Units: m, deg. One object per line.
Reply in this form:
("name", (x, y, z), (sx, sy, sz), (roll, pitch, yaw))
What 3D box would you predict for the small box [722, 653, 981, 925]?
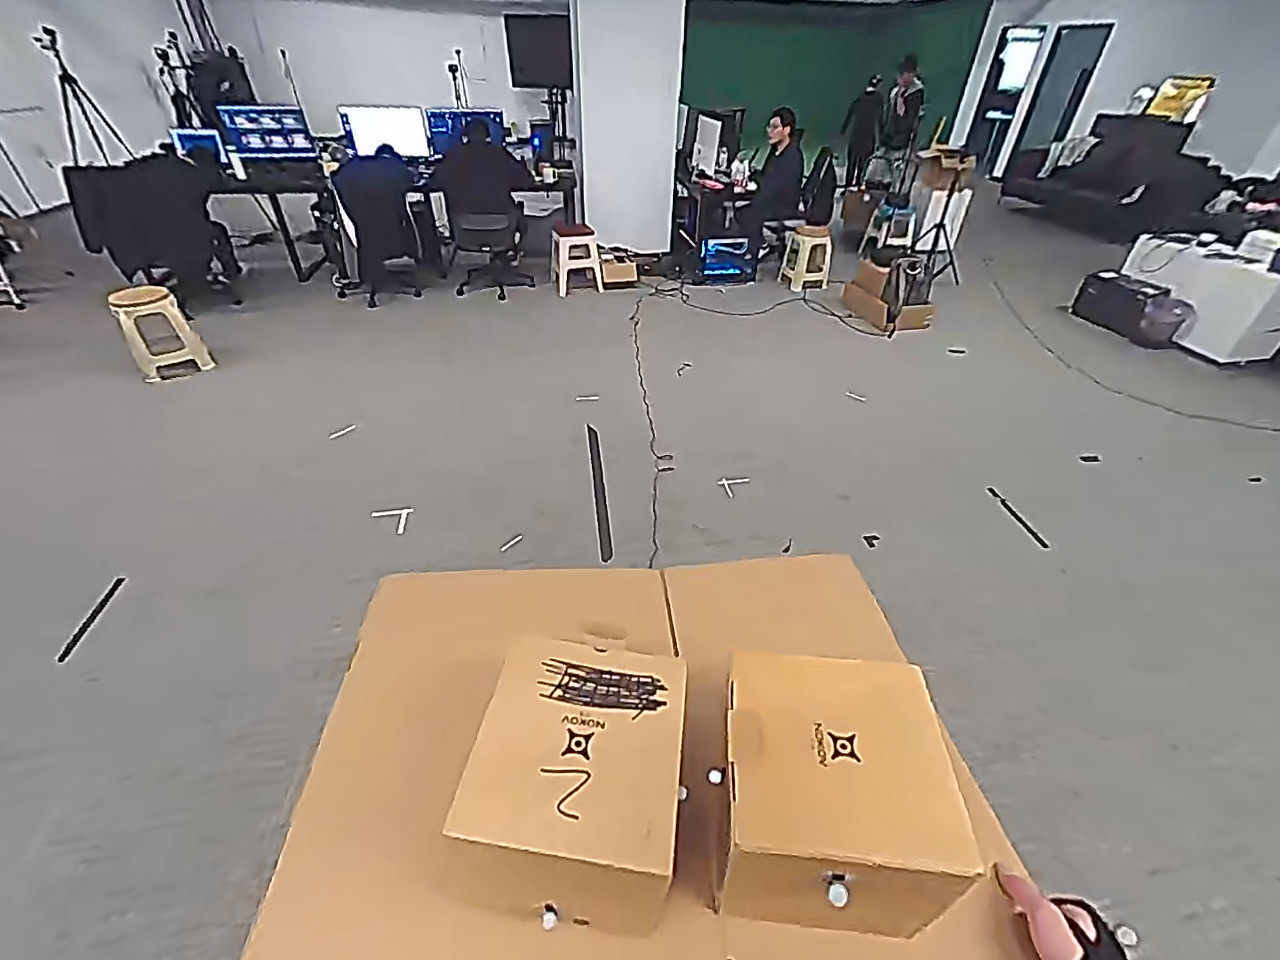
("small box", (0.172, 0.287, 0.505), (0.179, 0.176, 0.168), (3, 39, 7))
